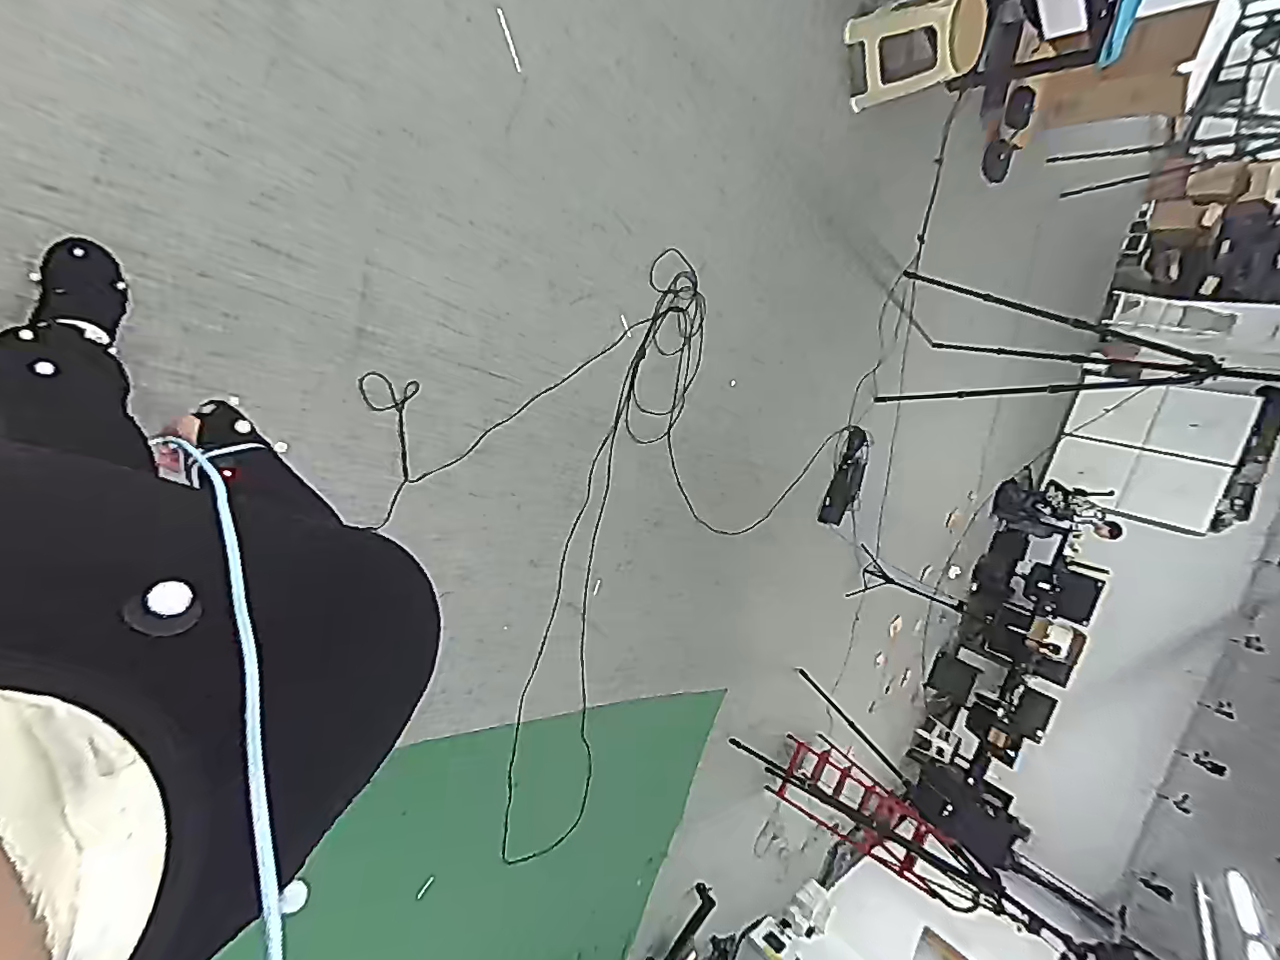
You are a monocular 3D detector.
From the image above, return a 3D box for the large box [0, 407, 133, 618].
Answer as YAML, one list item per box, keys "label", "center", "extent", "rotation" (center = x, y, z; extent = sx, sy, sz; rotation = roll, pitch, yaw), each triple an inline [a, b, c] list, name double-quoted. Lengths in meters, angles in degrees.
- label: "large box"
  center: [-1.207, 0.042, 0.975]
  extent: [0.408, 0.320, 0.320]
  rotation: [11, 98, -45]
